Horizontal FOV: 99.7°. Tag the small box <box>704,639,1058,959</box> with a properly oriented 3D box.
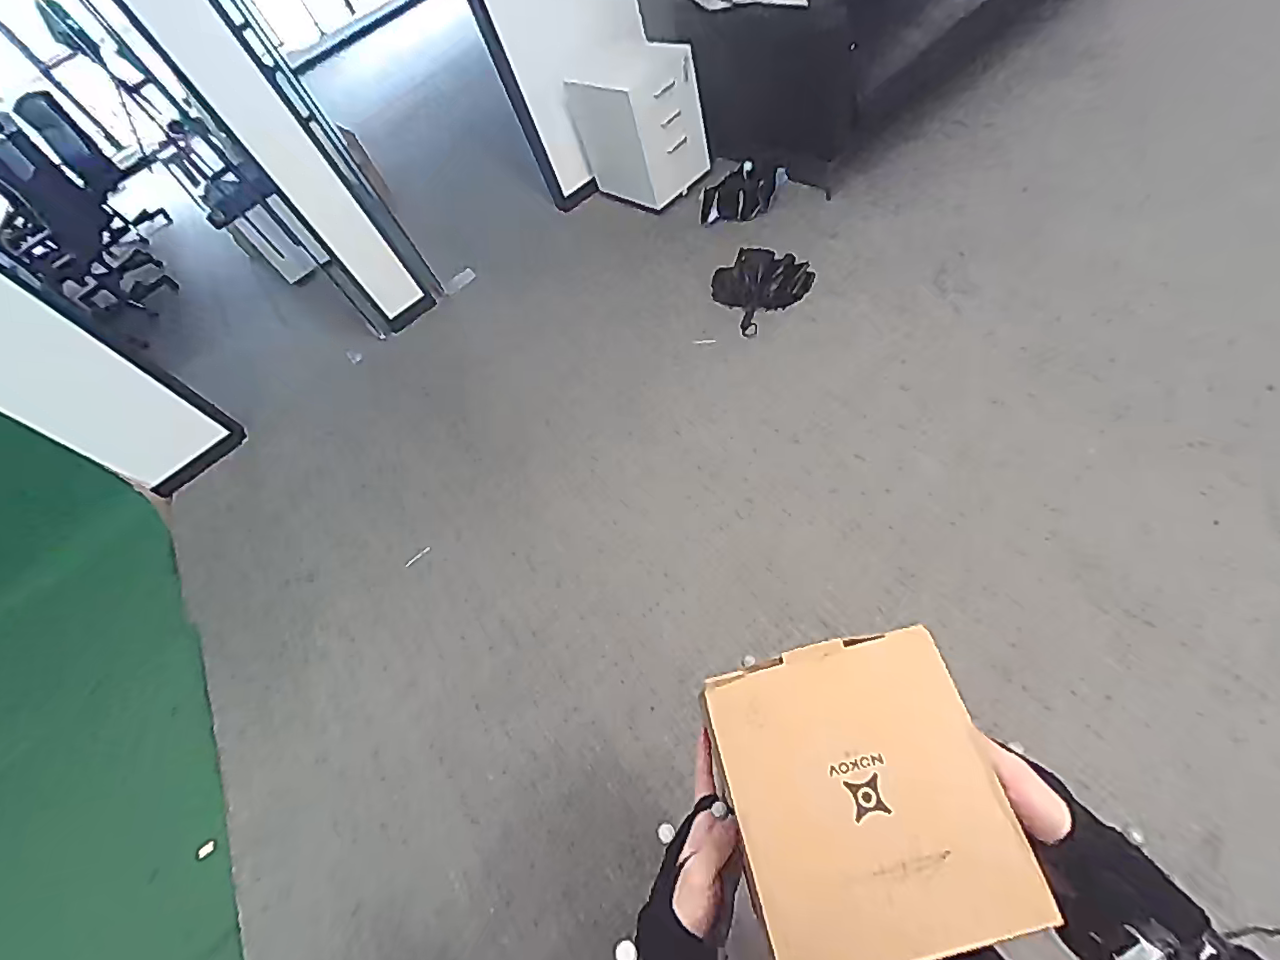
[{"bbox_3d":[0.149,0.239,0.416,0.168,0.176,0.179,-13,65,-1],"label":"small box"}]
